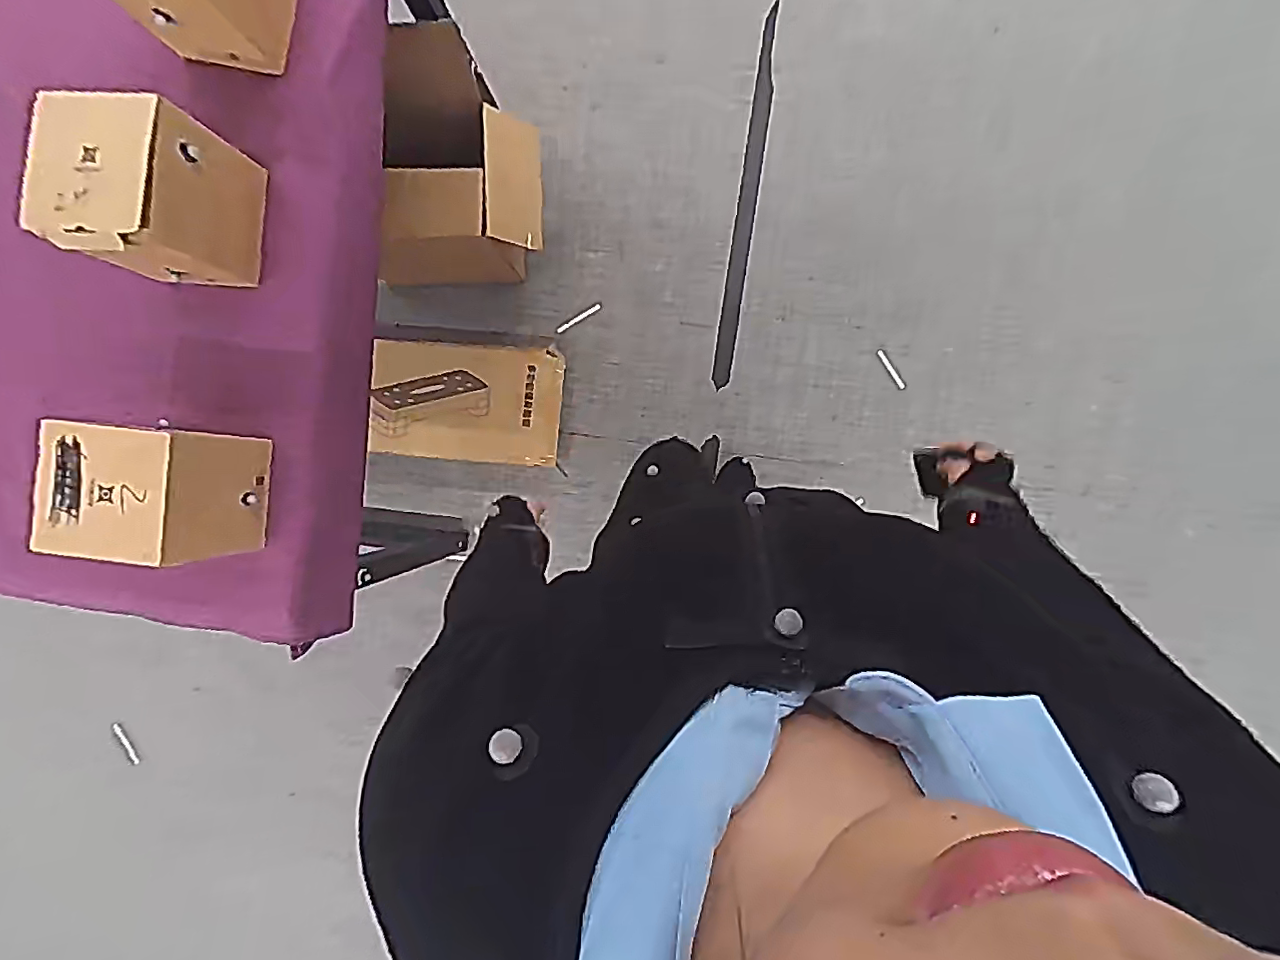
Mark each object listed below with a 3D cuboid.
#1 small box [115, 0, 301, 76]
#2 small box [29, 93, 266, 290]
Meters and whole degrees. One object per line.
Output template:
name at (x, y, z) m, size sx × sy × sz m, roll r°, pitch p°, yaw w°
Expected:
small box at (-0.591, -0.691, 0.723) m, size 0.168 × 0.176 × 0.179 m, roll 13°, pitch 91°, yaw 4°
small box at (-0.645, -0.377, 0.729) m, size 0.168 × 0.176 × 0.179 m, roll 5°, pitch 91°, yaw 7°
